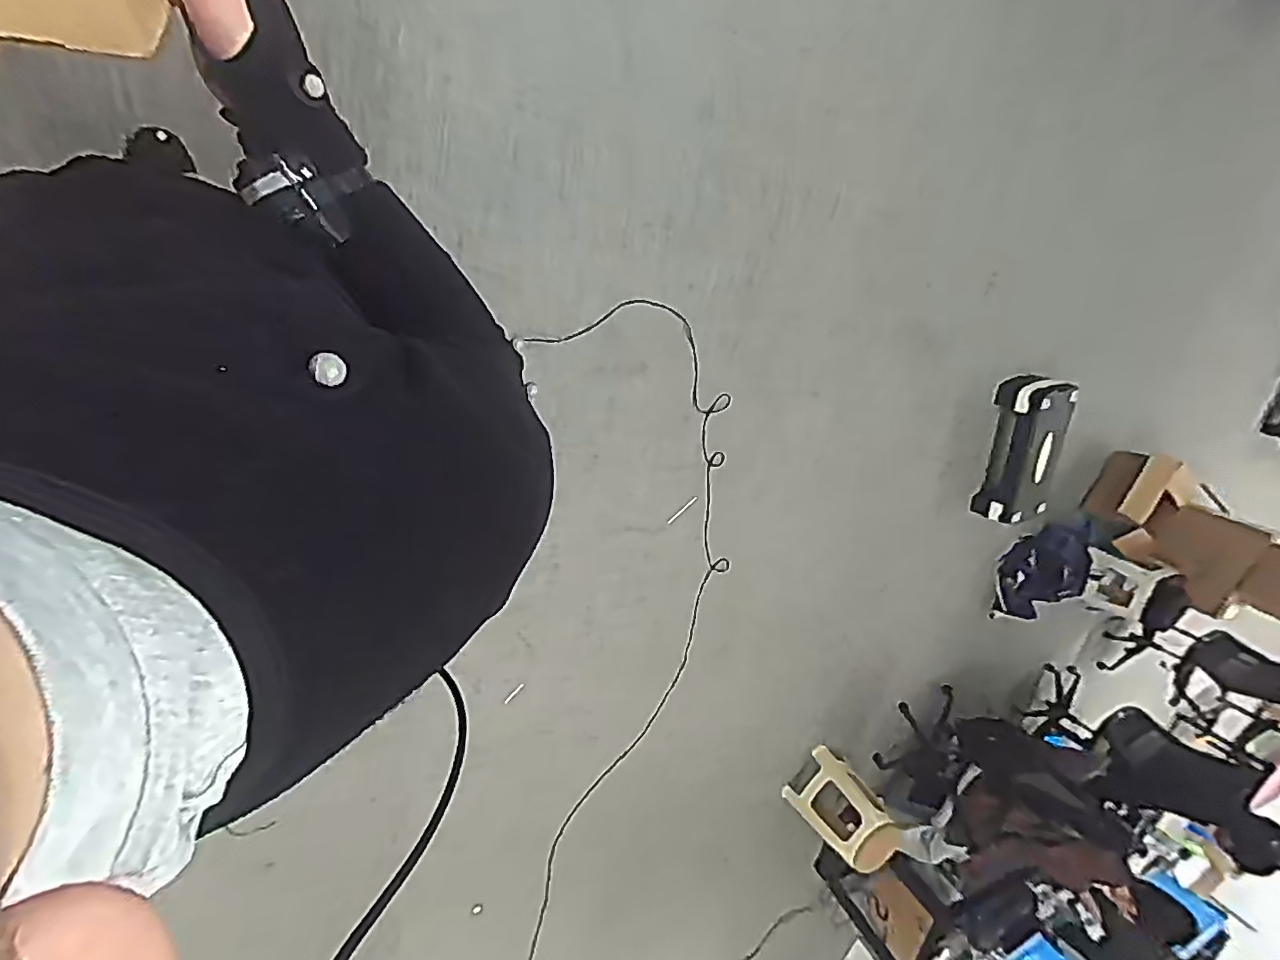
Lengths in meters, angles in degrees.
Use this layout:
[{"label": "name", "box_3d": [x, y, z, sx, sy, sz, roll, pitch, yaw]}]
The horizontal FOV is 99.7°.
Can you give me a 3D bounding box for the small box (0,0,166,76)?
[{"label": "small box", "box_3d": [-0.320, -0.308, 0.216, 0.168, 0.176, 0.179, -8, 145, -23]}]
